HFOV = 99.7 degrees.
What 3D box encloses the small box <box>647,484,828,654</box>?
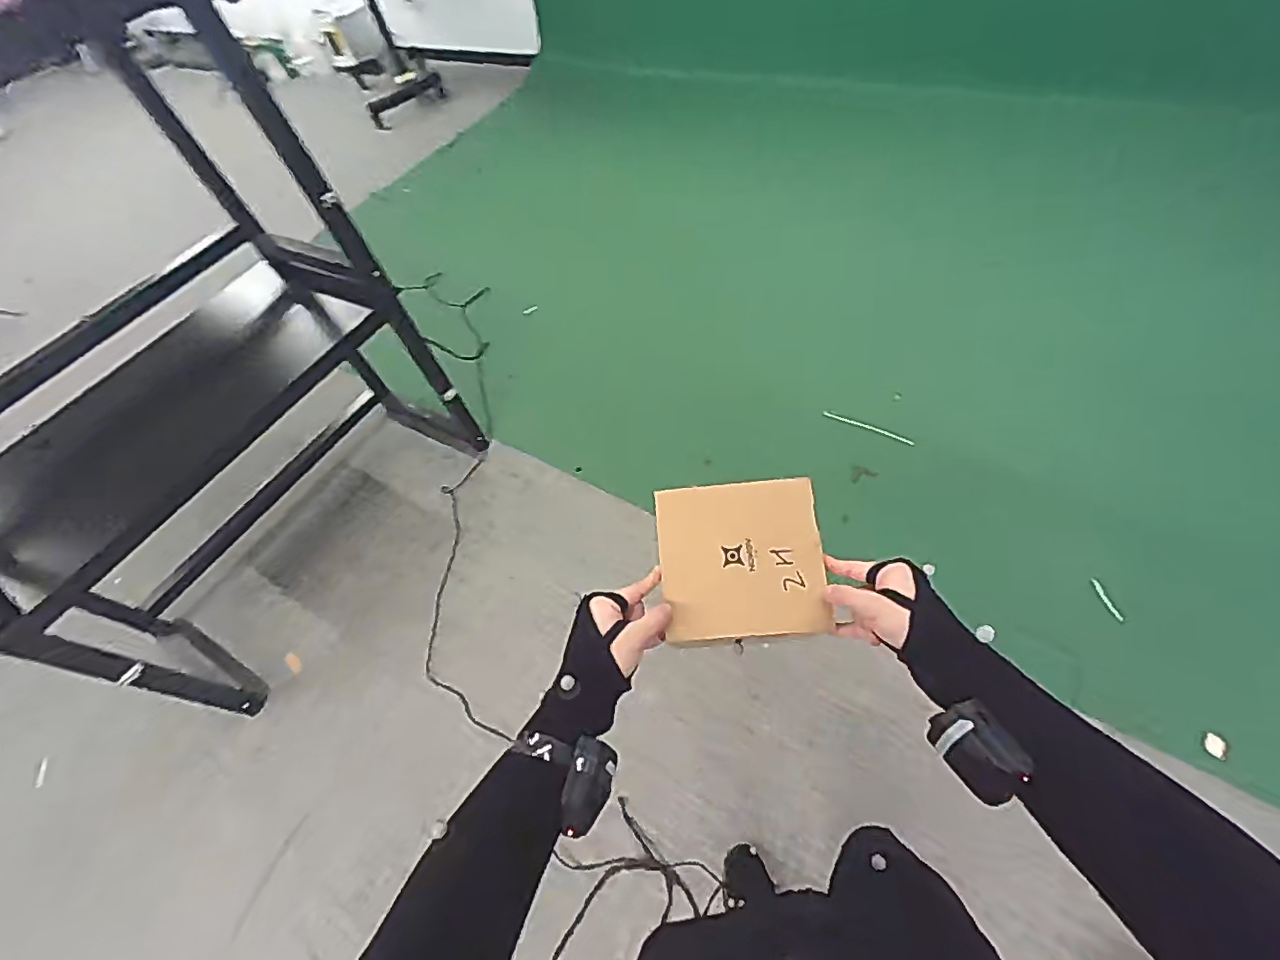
[{"bbox_3d":[0.106,0.114,0.644,0.179,0.176,0.168,-5,70,4],"label":"small box"}]
